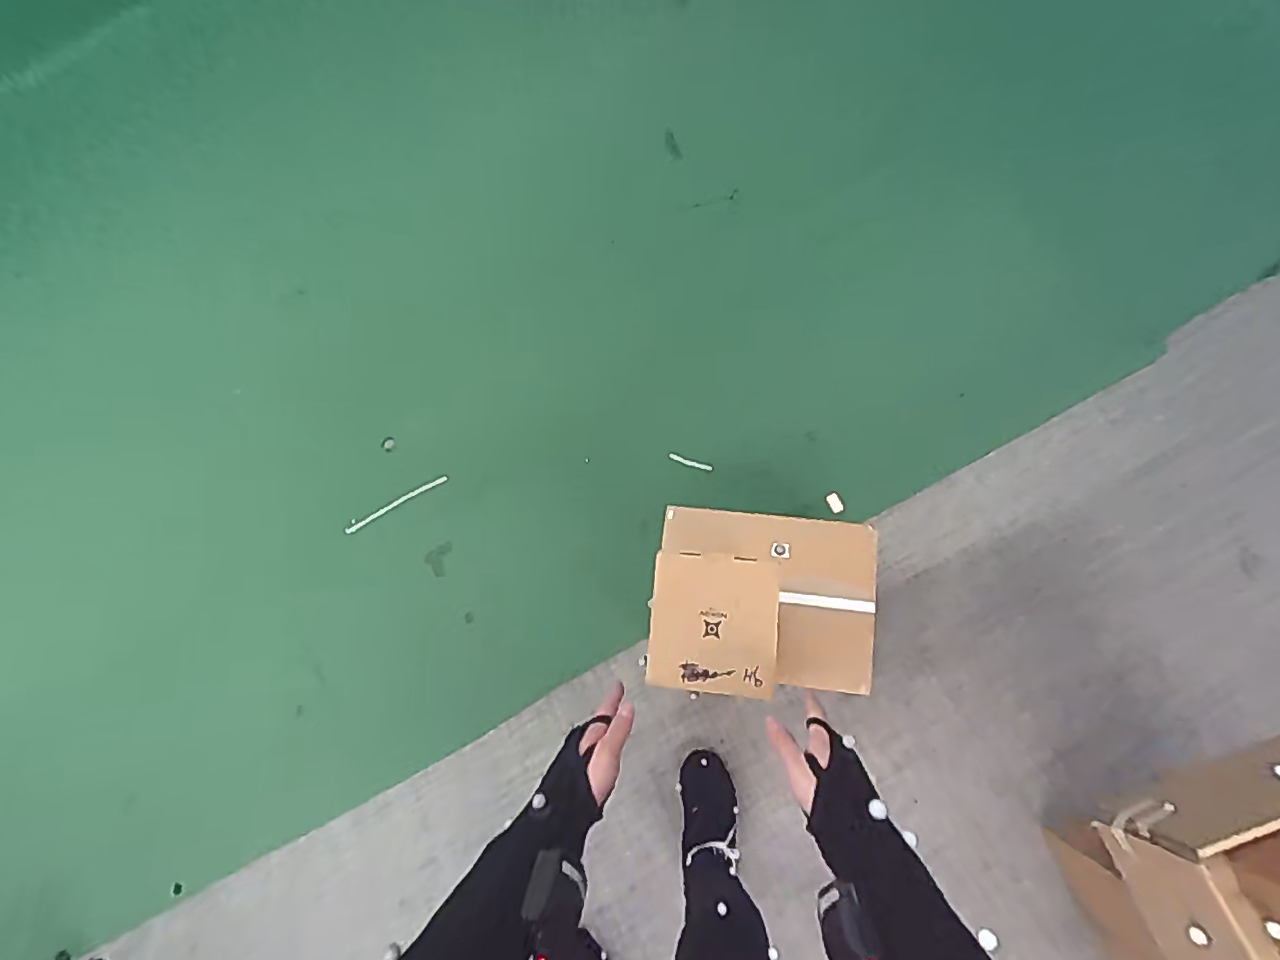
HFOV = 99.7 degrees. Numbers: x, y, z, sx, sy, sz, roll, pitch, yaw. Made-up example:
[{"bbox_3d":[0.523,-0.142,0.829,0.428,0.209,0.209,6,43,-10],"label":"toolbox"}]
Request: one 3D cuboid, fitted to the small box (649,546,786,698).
[{"bbox_3d":[0.109,0.199,0.775,0.168,0.176,0.179,5,76,8],"label":"small box"}]
